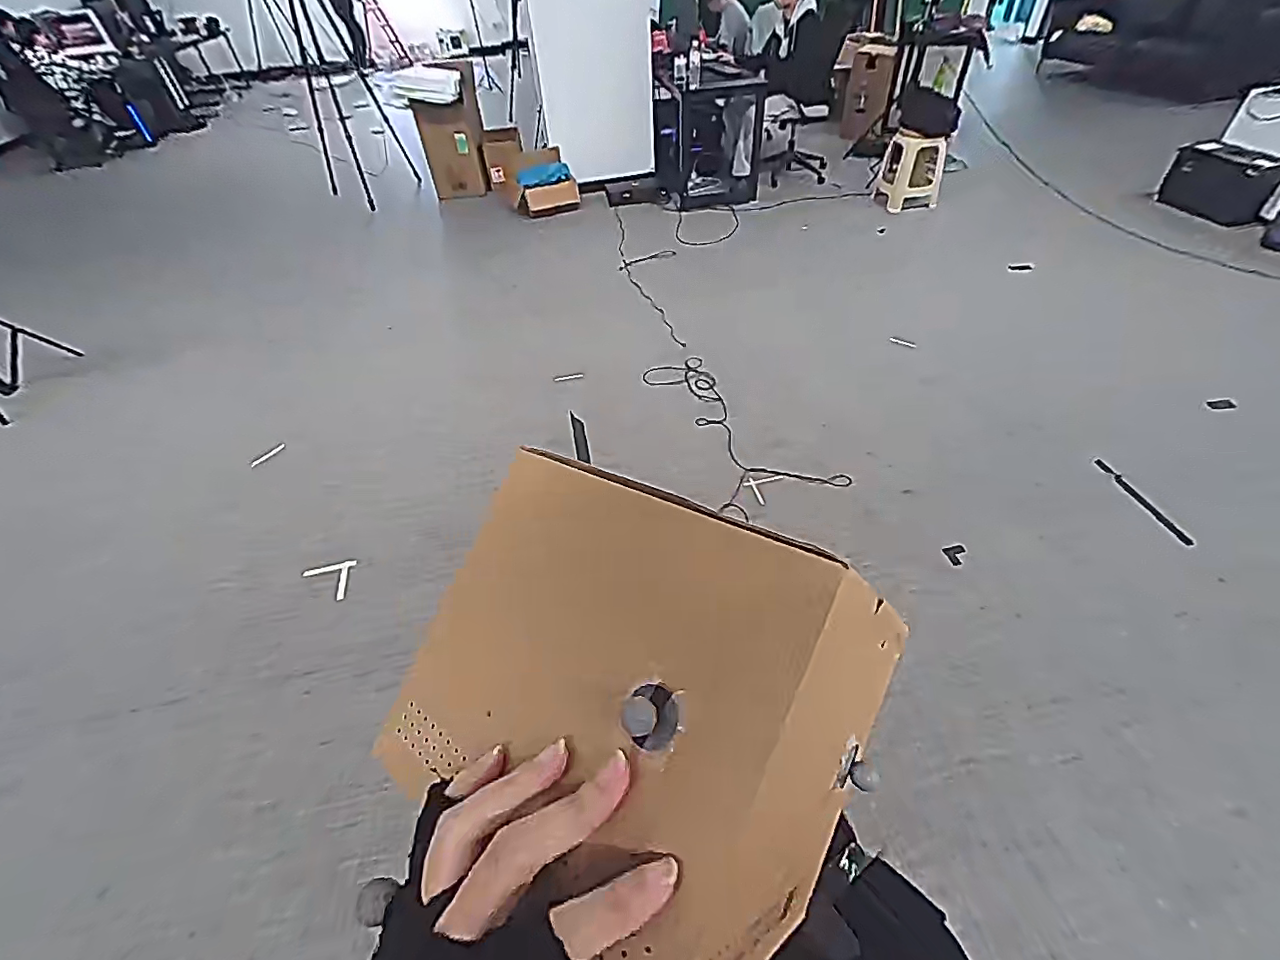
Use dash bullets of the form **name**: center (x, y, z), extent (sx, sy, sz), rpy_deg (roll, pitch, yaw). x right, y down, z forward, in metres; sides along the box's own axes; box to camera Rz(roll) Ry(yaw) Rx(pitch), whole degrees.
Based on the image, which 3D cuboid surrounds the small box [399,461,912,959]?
- **small box**: center (0.015, 0.112, 0.284), extent (0.179, 0.168, 0.176), rpy_deg (18, 80, 37)
